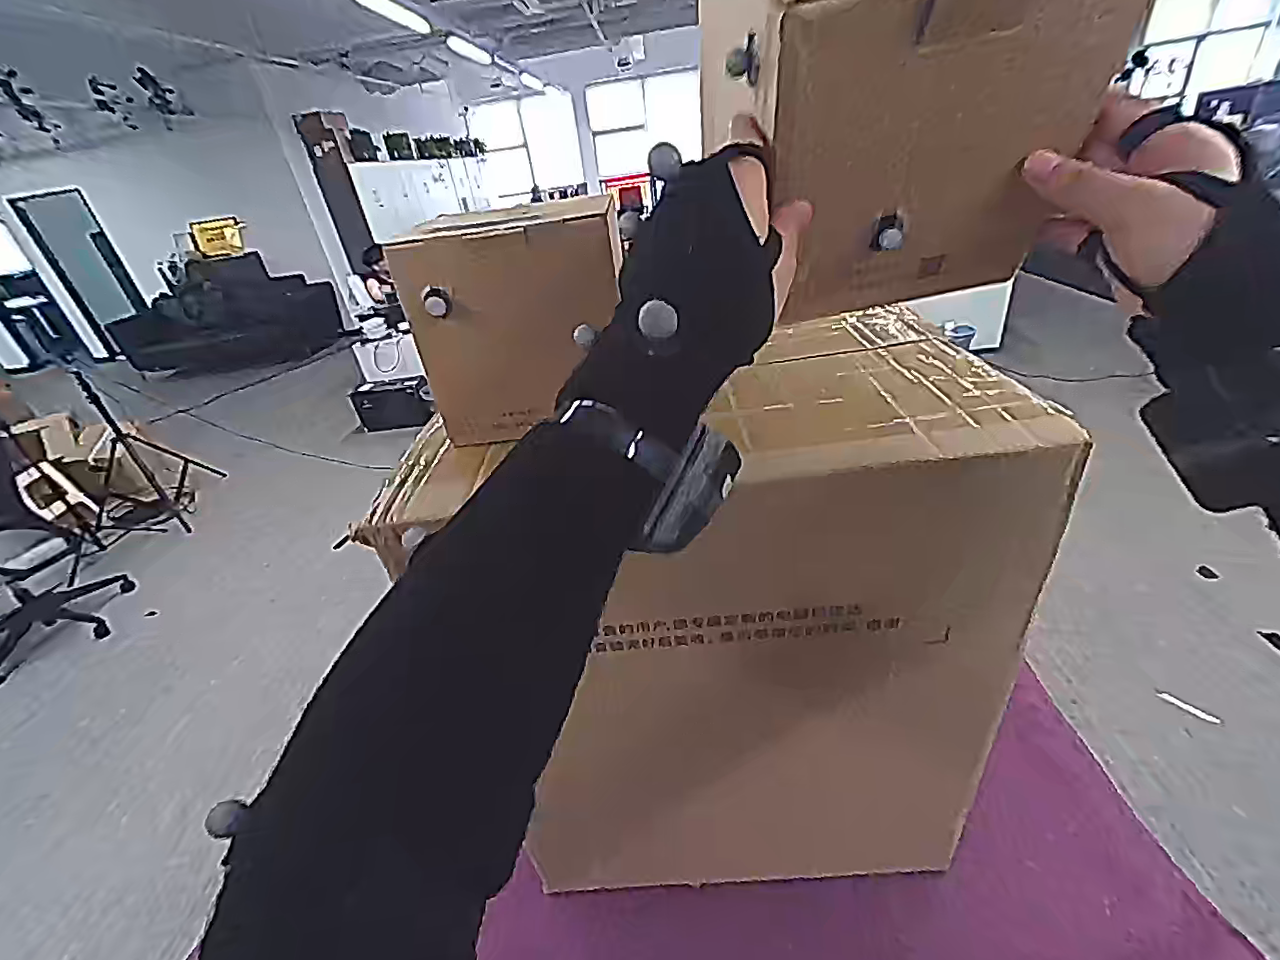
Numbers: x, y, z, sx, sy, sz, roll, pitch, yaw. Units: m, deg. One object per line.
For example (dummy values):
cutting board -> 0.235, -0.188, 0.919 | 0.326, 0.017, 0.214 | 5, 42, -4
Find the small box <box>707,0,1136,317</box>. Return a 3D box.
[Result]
small box -> 0.137, -0.232, 0.338 | 0.168, 0.176, 0.179 | -11, 54, 1
